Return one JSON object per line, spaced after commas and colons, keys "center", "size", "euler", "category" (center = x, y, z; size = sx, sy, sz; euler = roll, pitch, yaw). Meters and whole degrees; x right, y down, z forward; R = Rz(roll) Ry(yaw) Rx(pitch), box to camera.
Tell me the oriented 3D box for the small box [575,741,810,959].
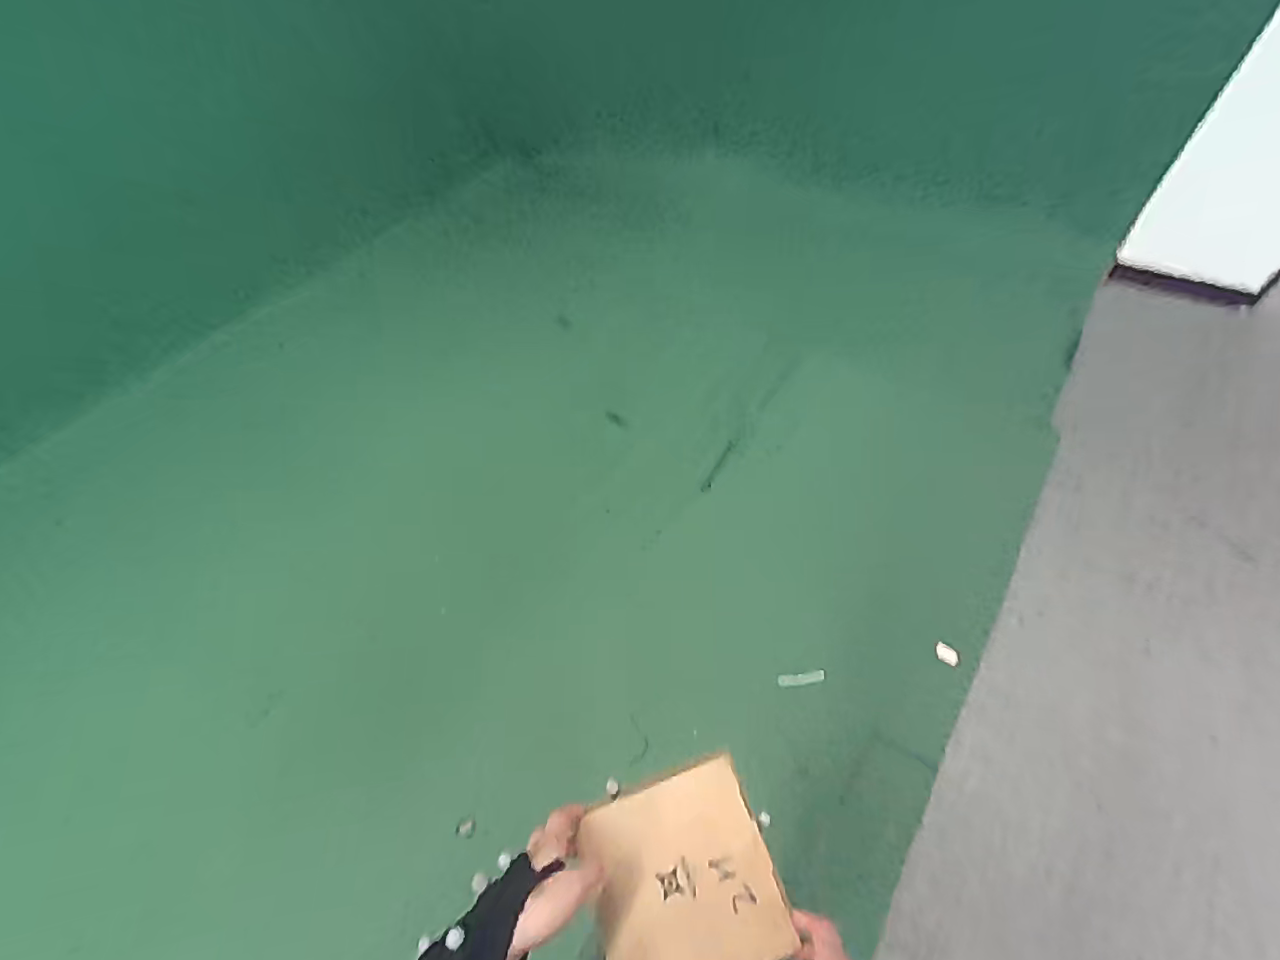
{"center": [0.053, 0.396, 0.574], "size": [0.179, 0.176, 0.168], "euler": [-22, 67, -2], "category": "small box"}
